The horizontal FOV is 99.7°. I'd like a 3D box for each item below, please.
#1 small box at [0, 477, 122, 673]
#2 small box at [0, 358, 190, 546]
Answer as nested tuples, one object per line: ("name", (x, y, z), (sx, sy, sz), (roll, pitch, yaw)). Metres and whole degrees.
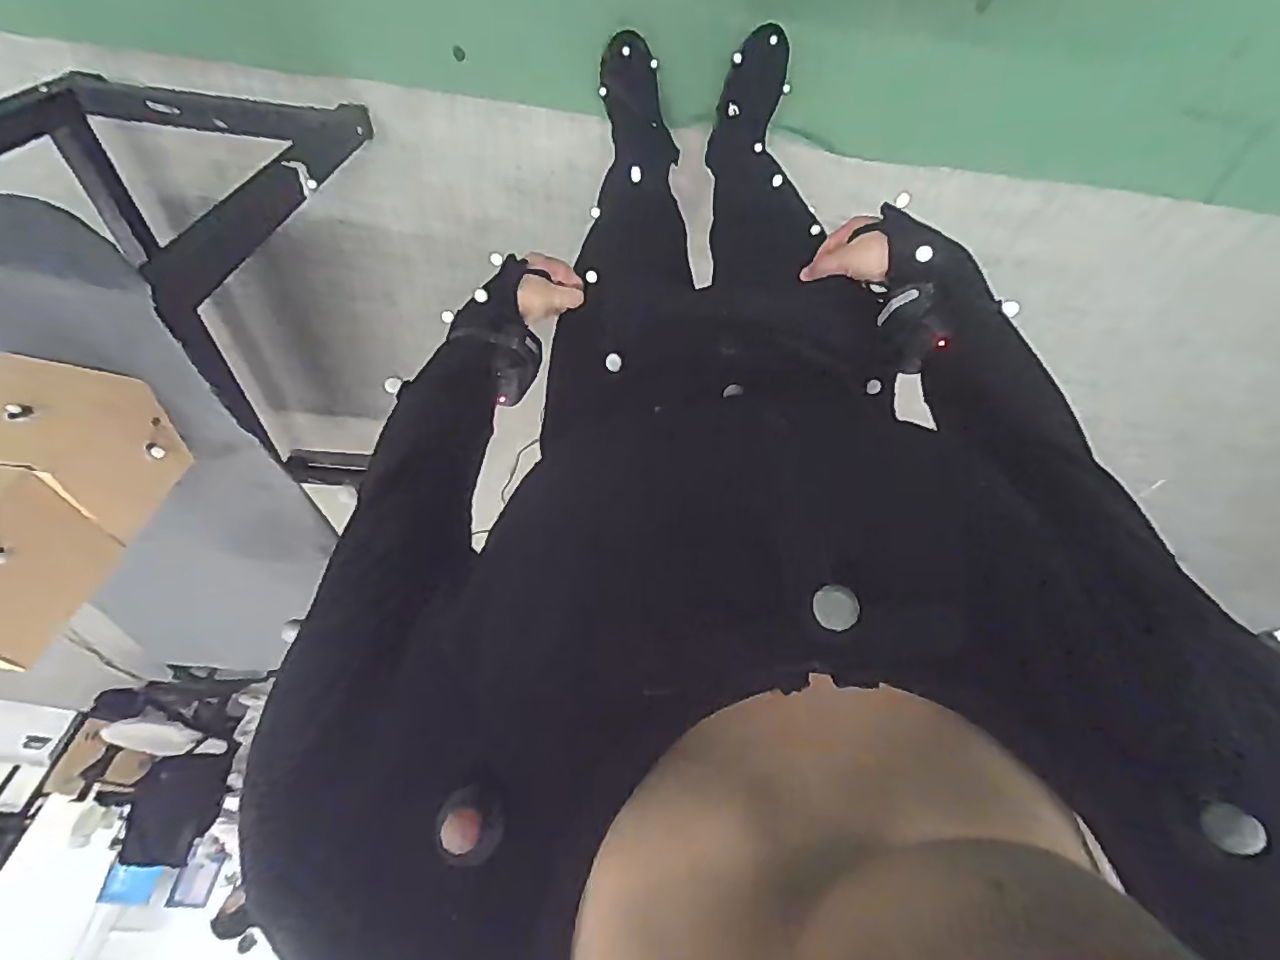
("small box", (-0.762, 0.095, 0.603), (0.168, 0.176, 0.179), (7, 141, 0))
("small box", (-0.750, -0.035, 0.700), (0.179, 0.176, 0.168), (10, 140, -7))
